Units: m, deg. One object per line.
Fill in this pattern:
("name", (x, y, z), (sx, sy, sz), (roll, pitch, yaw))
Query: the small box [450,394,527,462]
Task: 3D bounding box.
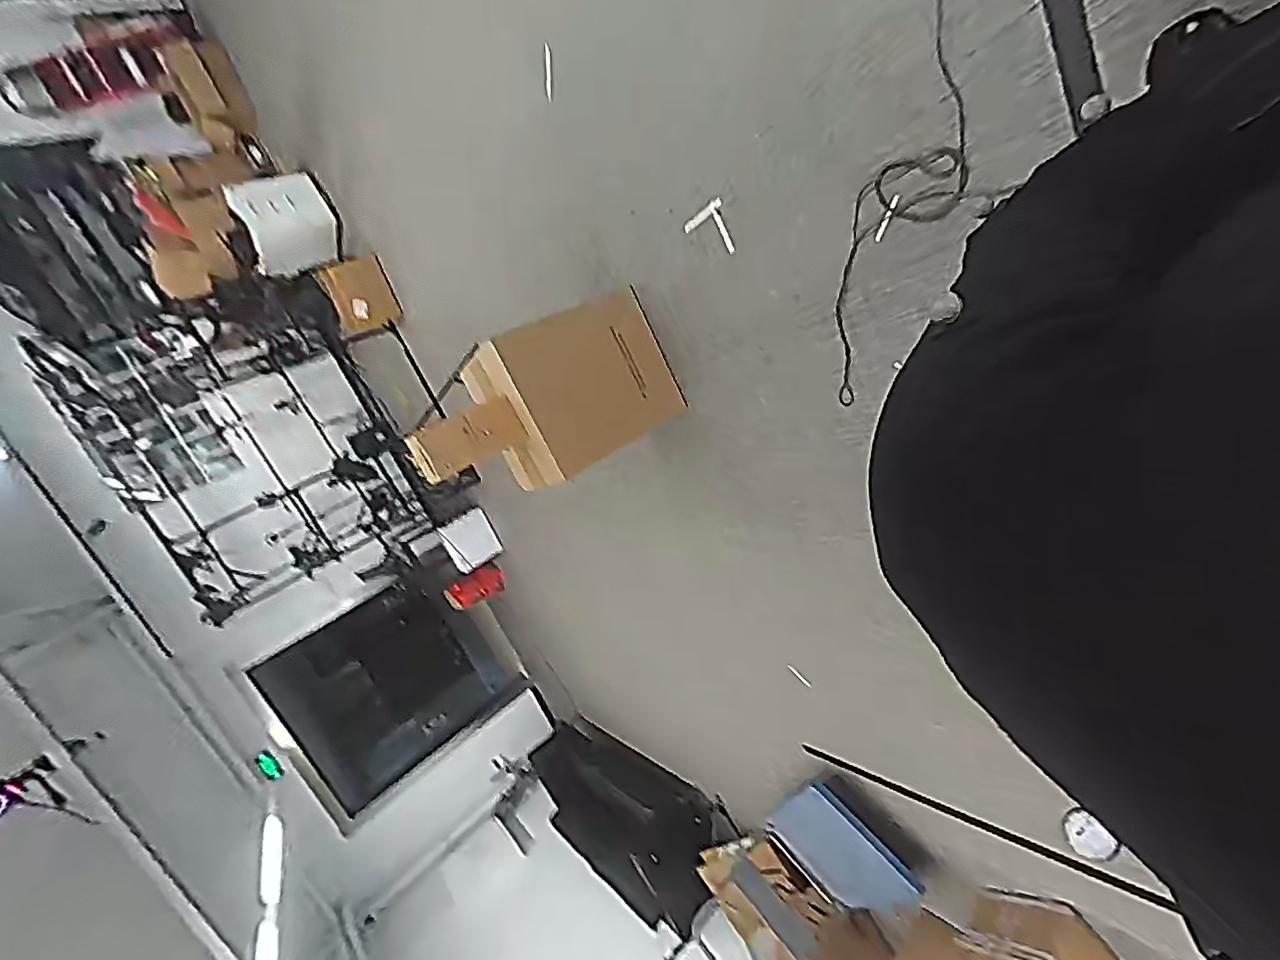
("small box", (-0.523, -0.185, 1.878), (0.168, 0.176, 0.179), (-10, 110, 57))
